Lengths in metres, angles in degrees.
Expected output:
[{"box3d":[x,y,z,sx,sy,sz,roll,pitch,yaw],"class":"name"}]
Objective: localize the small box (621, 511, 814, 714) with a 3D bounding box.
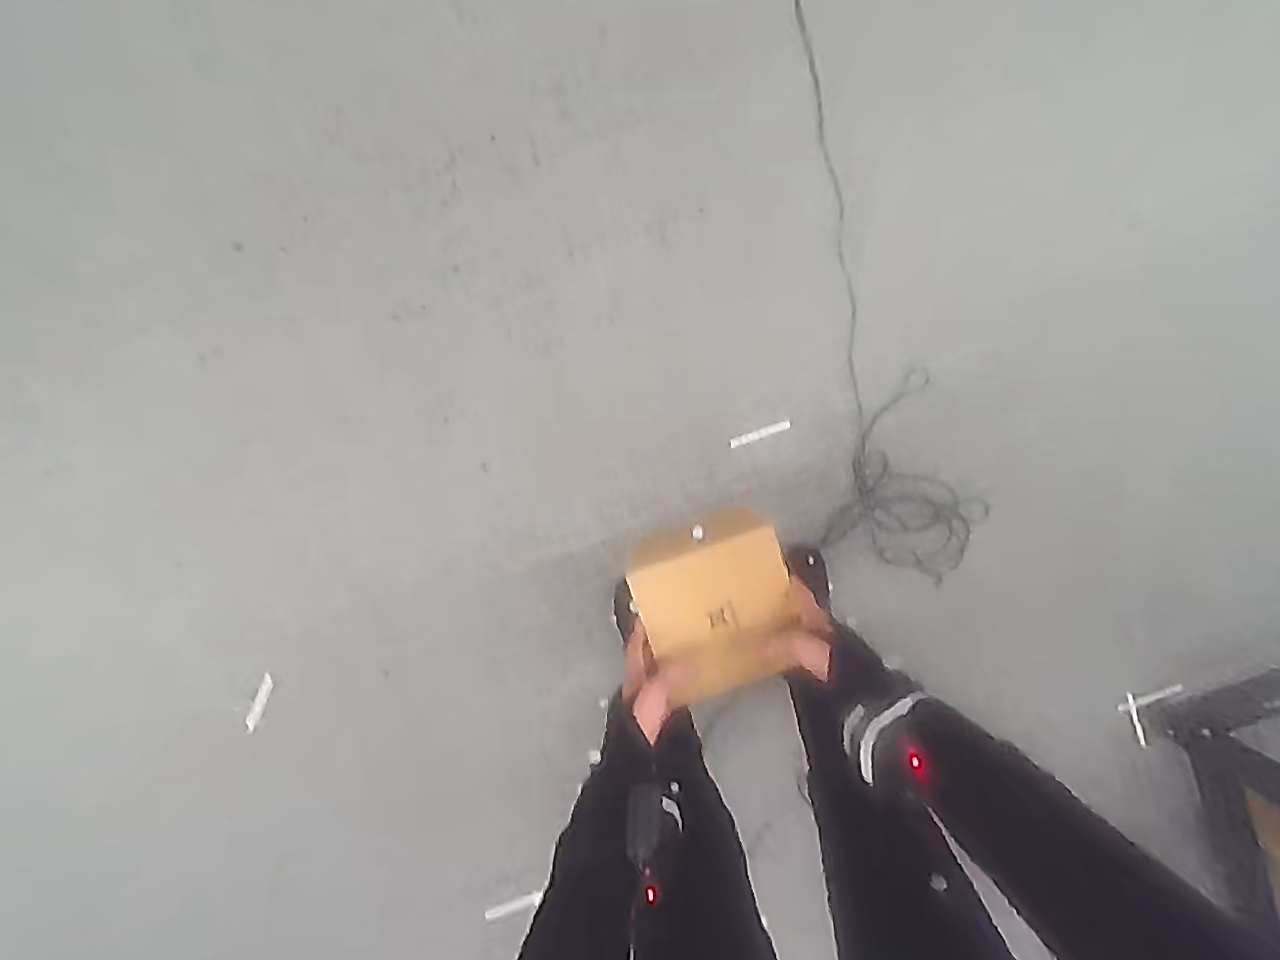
[{"box3d":[0.086,0.150,0.670,0.179,0.176,0.168,-20,96,1],"class":"small box"}]
